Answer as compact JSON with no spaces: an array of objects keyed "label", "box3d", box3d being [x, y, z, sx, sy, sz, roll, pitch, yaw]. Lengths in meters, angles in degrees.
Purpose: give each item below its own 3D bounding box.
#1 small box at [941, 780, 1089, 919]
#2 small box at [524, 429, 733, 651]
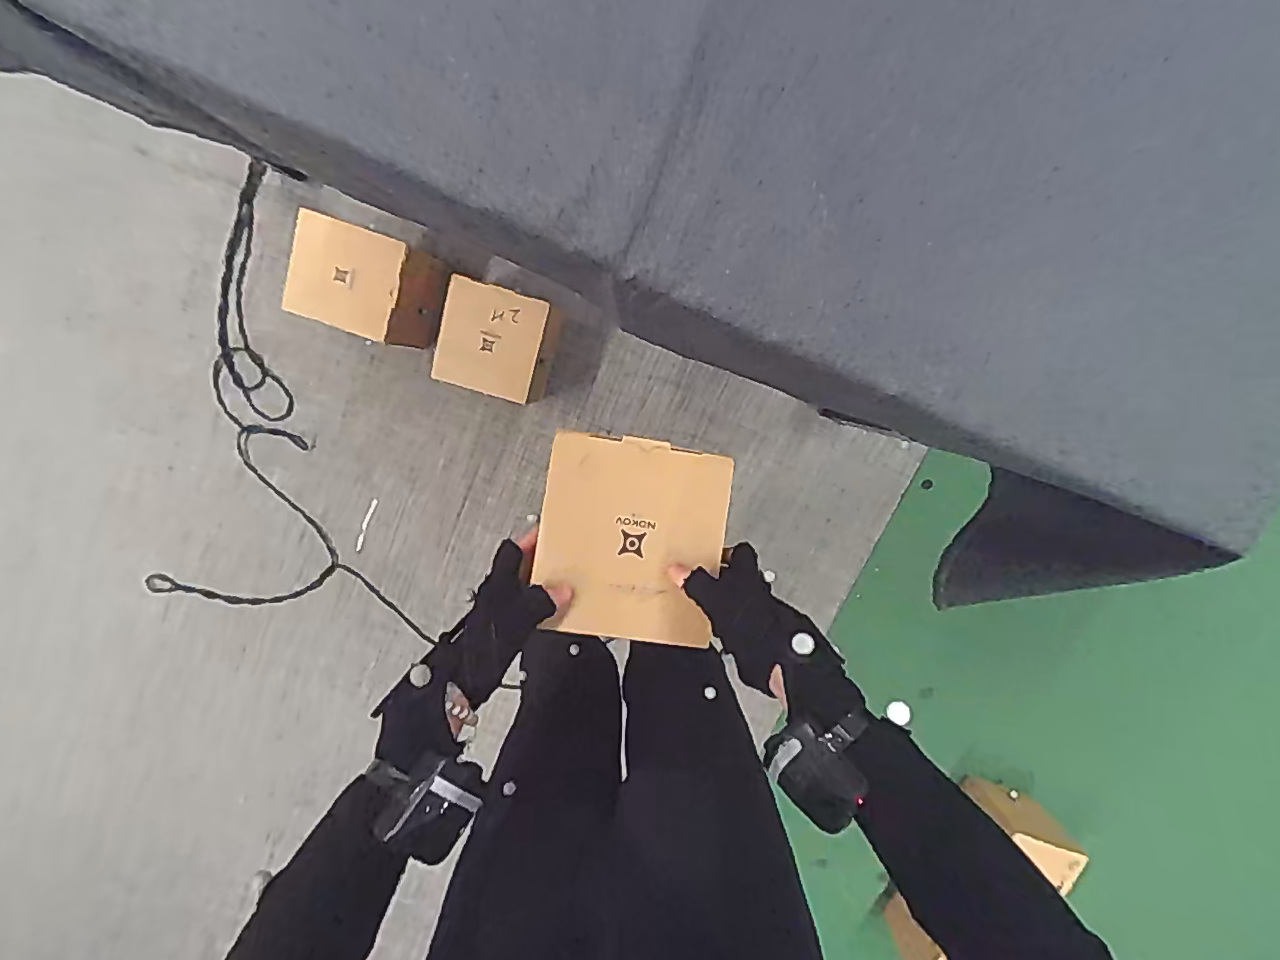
[{"label":"small box","box3d":[0.813,0.804,1.194,0.179,0.176,0.168,22,101,-4]},{"label":"small box","box3d":[-0.018,0.057,0.553,0.168,0.176,0.179,9,87,-7]}]
